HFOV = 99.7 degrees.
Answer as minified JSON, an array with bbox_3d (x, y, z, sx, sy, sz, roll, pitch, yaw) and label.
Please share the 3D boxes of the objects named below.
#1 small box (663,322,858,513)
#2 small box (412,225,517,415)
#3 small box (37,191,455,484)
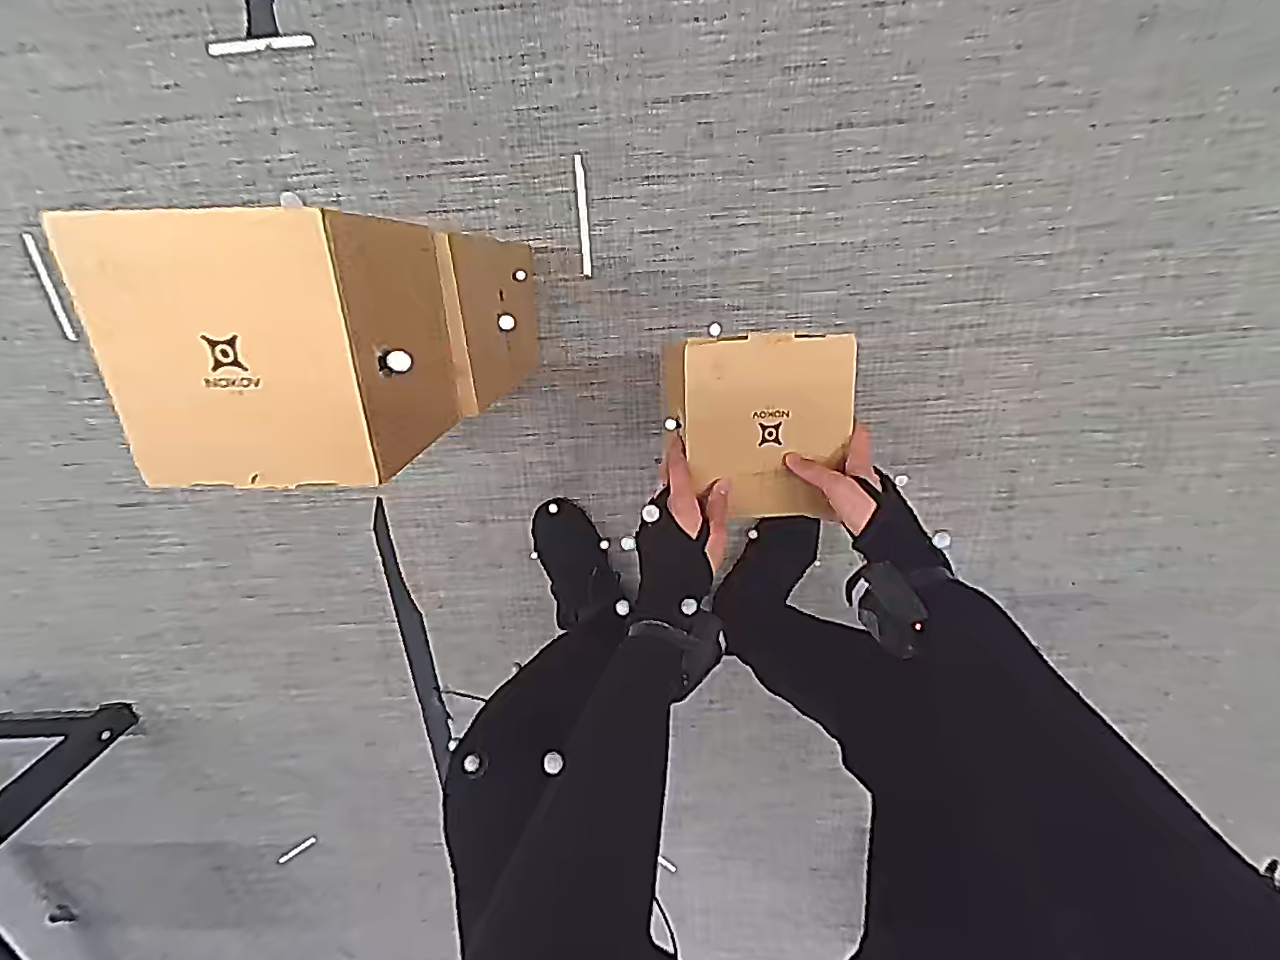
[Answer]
[{"bbox_3d":[0.118,-0.074,0.589,0.168,0.176,0.179,-4,104,-4],"label":"small box"},{"bbox_3d":[-0.241,-0.165,0.561,0.179,0.176,0.168,-3,112,2],"label":"small box"},{"bbox_3d":[-0.256,-0.109,0.408,0.168,0.176,0.179,-1,113,2],"label":"small box"}]
